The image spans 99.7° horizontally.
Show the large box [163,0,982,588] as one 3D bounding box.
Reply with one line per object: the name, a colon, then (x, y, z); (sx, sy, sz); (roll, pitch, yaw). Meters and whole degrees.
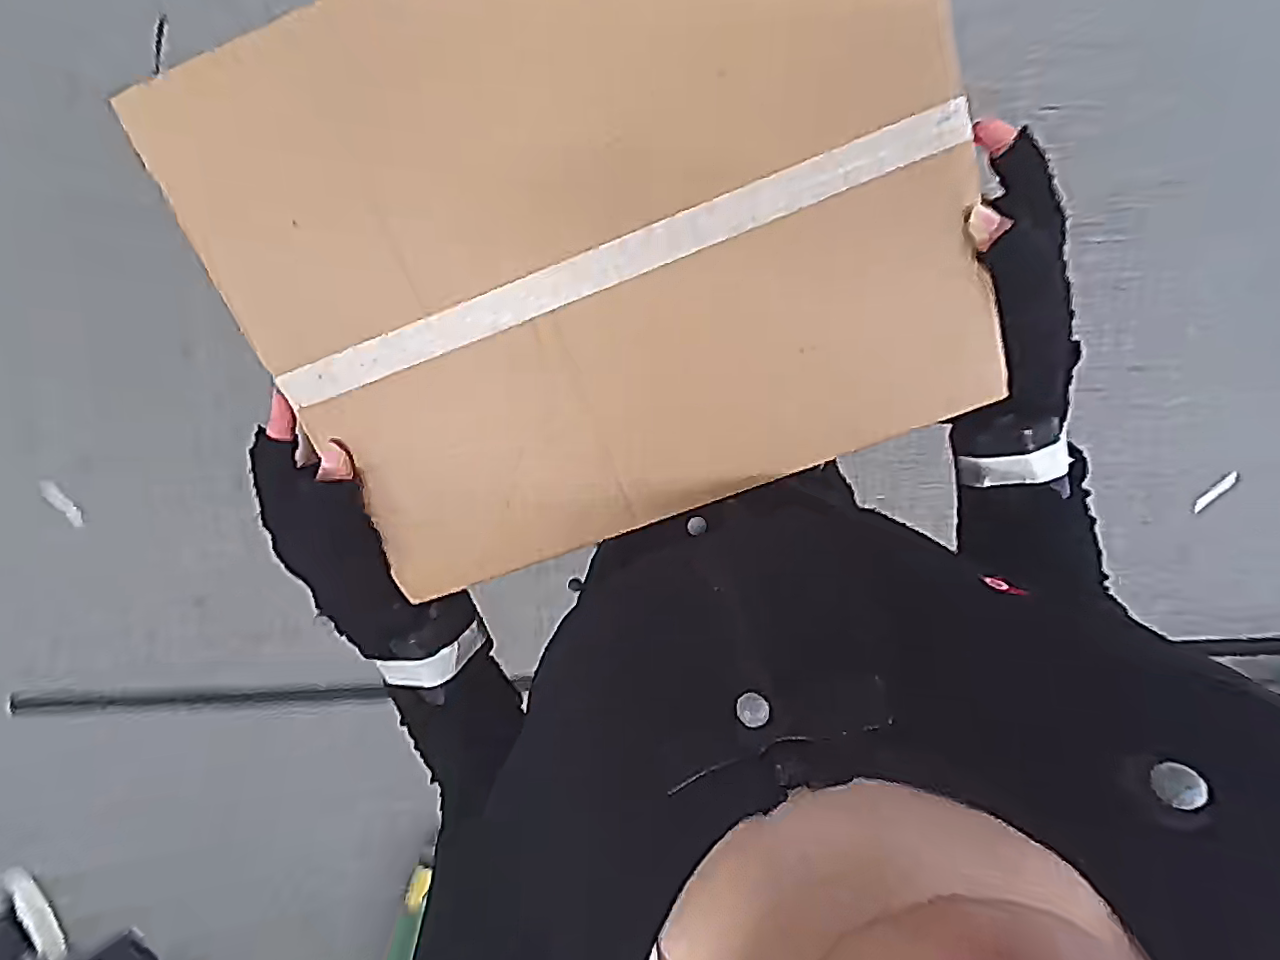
large box: (-0.020, -0.173, 0.453); (0.408, 0.320, 0.320); (-19, 108, 5)
